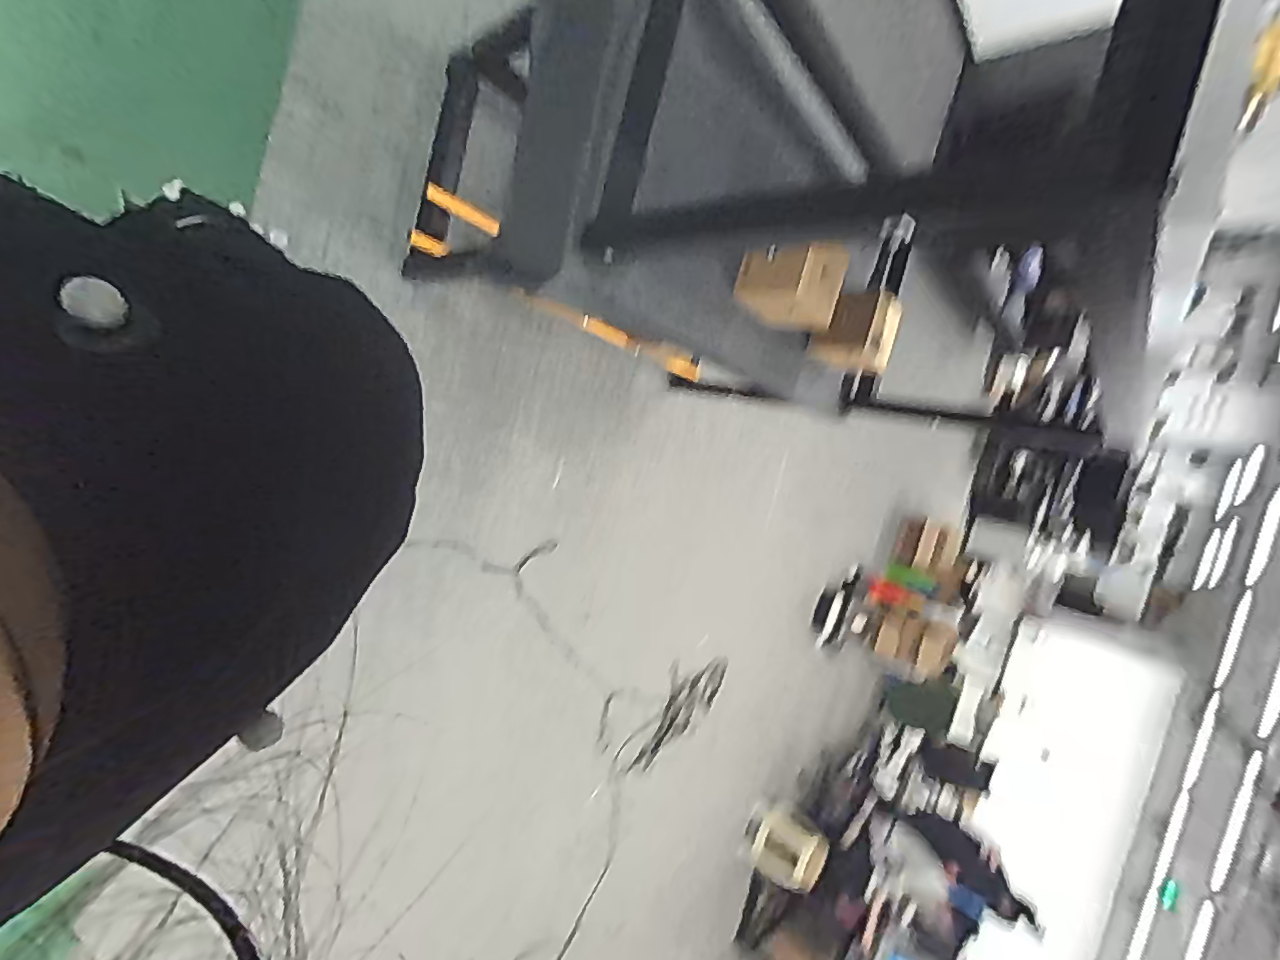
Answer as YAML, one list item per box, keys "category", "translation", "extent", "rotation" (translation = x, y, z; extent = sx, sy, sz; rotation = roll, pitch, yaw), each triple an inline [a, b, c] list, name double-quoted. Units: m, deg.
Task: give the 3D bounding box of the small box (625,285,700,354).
- category: "small box"
  translation: [0.072, -0.553, 1.864]
  extent: [0.168, 0.176, 0.179]
  rotation: [16, 92, -48]

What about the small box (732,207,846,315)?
- category: "small box"
  translation: [0.336, -0.488, 1.232]
  extent: [0.179, 0.176, 0.168]
  rotation: [16, 92, -48]
